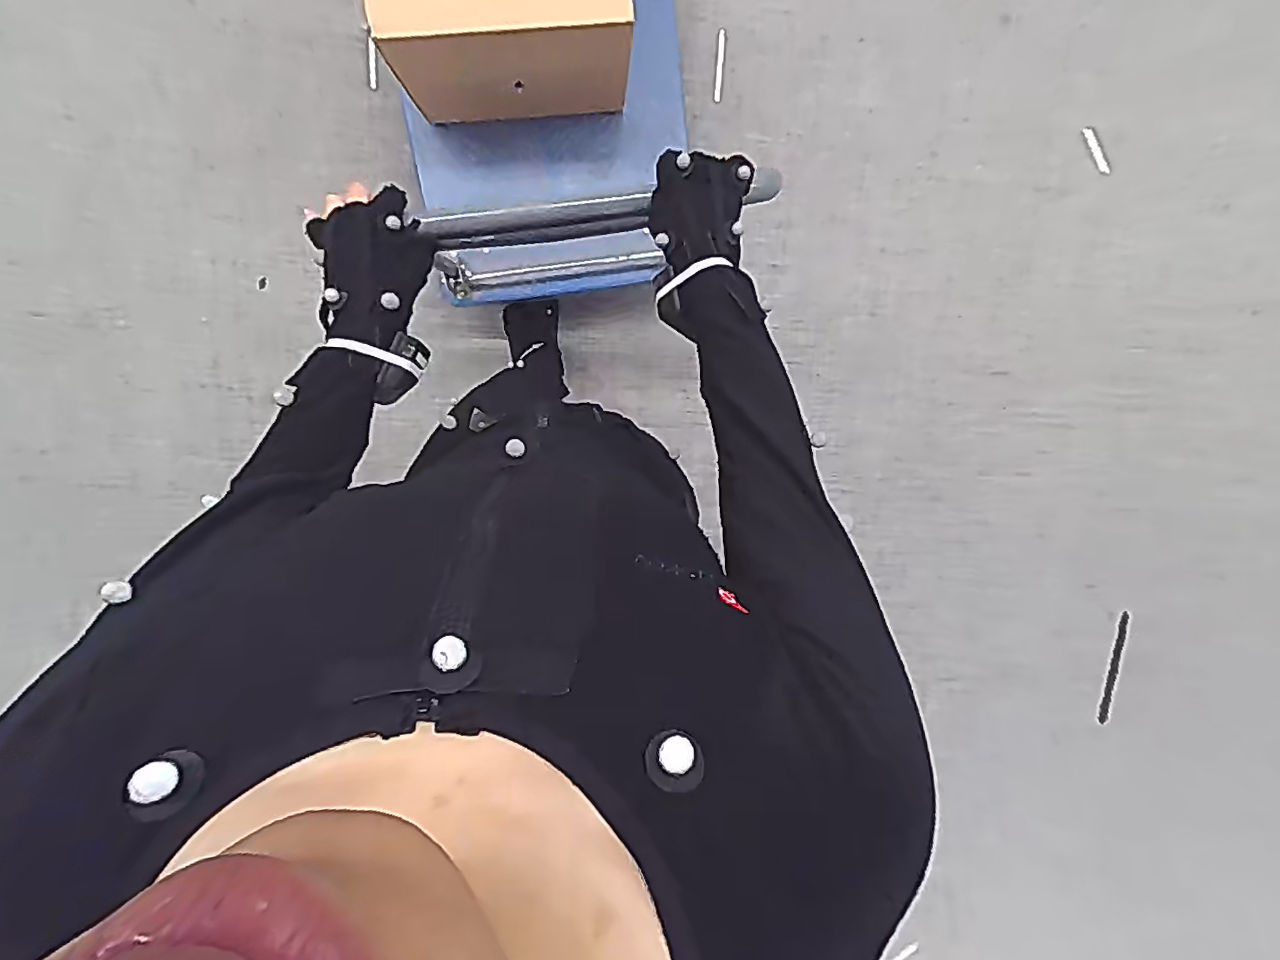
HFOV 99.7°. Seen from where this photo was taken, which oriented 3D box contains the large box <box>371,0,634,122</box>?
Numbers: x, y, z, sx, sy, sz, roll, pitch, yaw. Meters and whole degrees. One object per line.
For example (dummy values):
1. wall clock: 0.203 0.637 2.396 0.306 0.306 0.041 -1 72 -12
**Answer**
1. large box: -0.231 -0.875 0.953 0.408 0.320 0.320 -6 103 -3
